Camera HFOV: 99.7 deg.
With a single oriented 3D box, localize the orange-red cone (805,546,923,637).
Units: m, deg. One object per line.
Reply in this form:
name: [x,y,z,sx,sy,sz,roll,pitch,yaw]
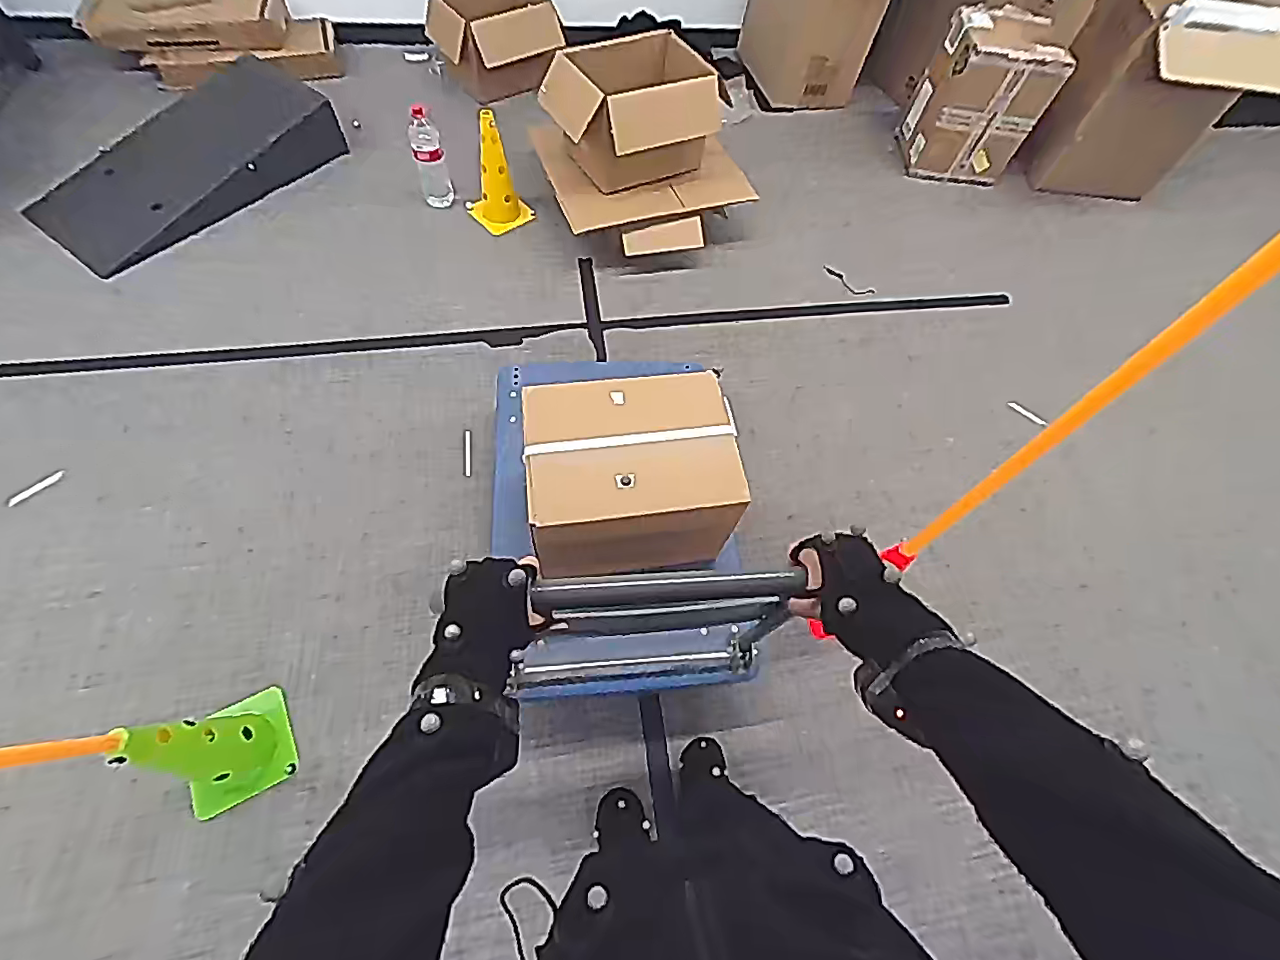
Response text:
orange-red cone: [0.554,0.233,1.271,0.199,0.360,0.198,0,62,-6]
